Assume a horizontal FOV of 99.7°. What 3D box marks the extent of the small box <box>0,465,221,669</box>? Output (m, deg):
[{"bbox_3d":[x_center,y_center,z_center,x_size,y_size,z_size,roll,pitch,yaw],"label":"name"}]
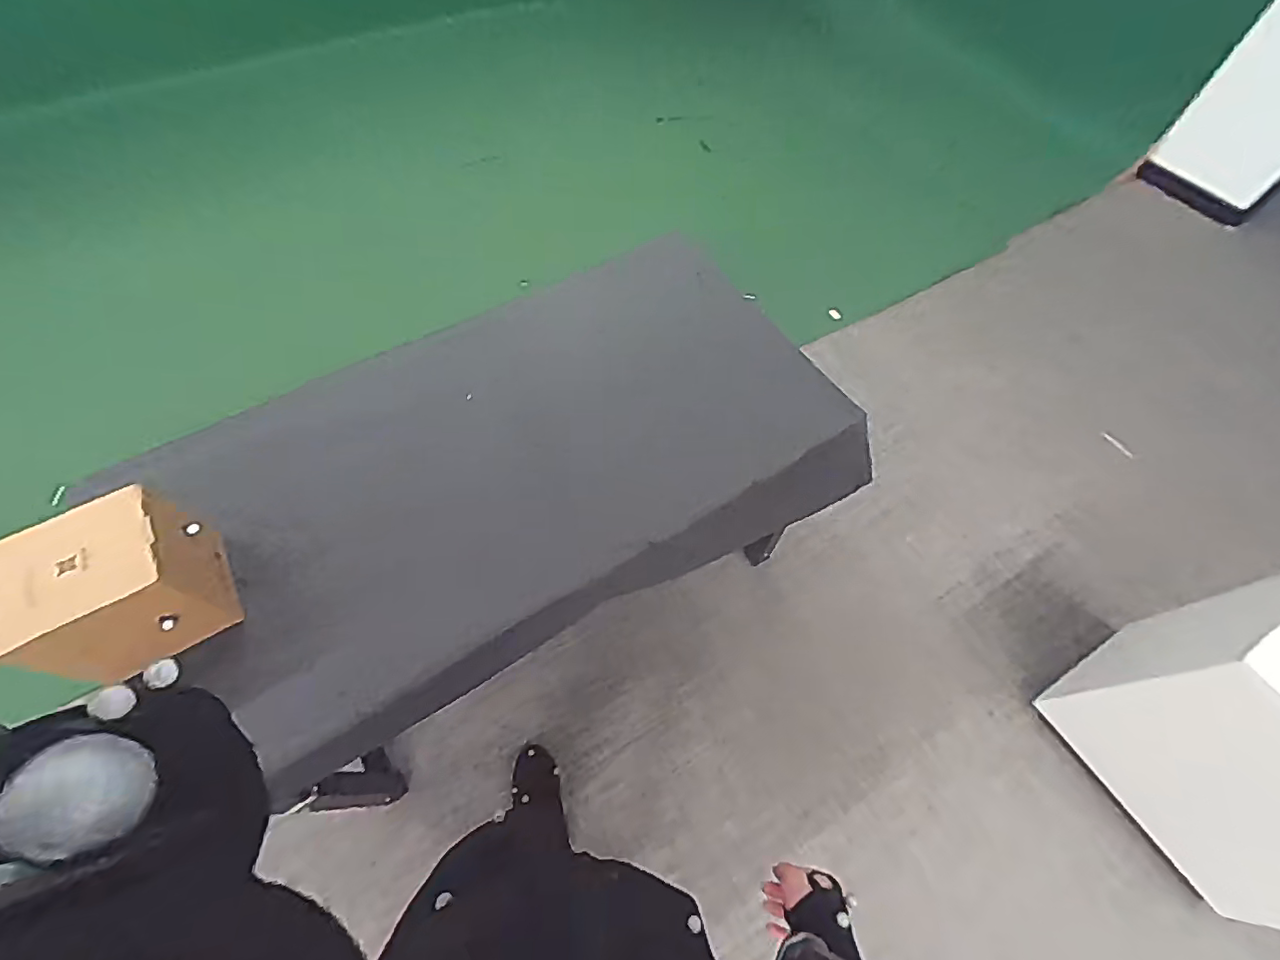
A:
[{"bbox_3d":[-0.689,0.117,0.702,0.179,0.176,0.168,-29,64,-16],"label":"small box"}]
